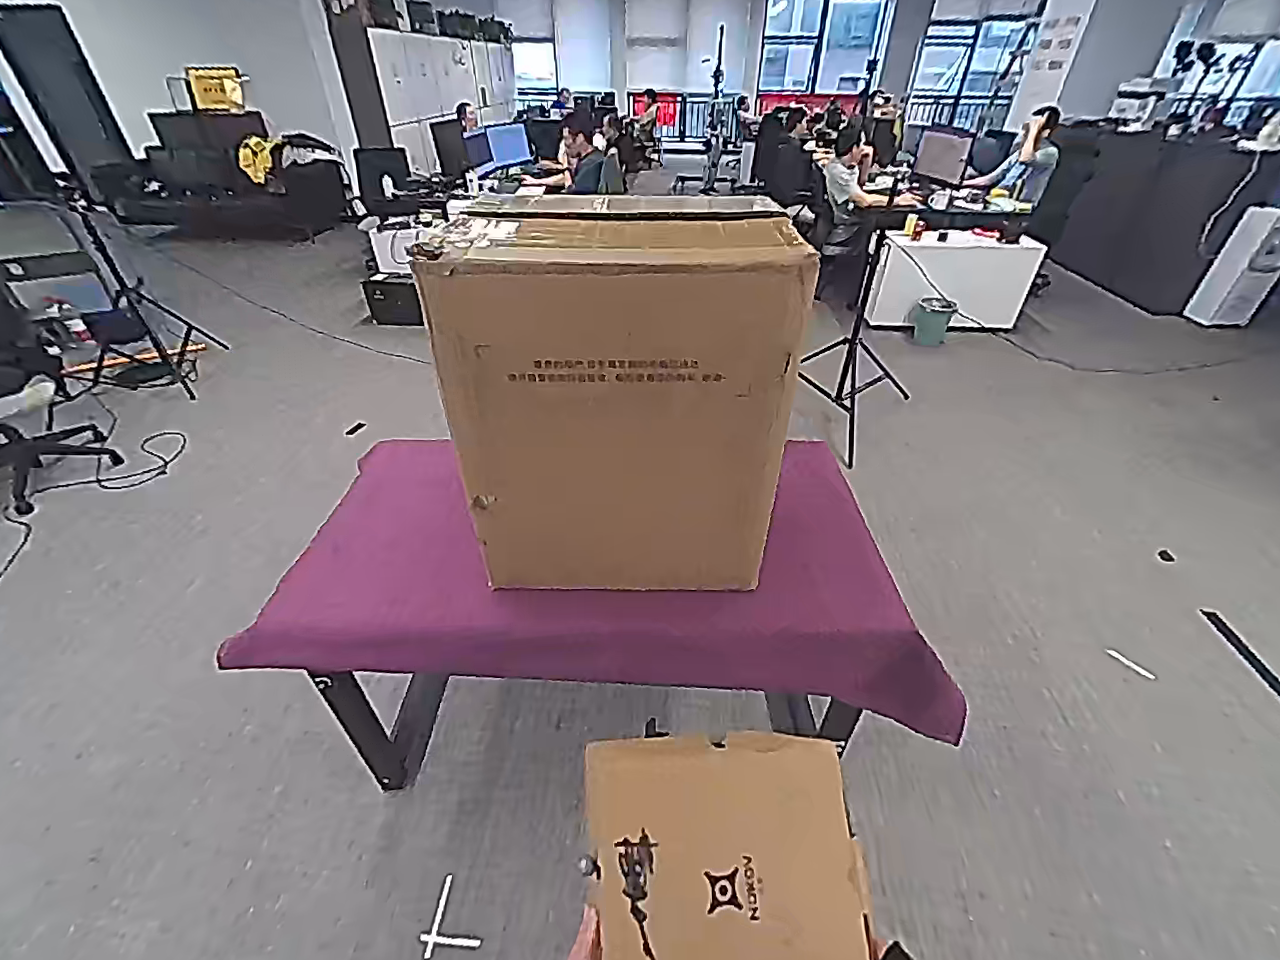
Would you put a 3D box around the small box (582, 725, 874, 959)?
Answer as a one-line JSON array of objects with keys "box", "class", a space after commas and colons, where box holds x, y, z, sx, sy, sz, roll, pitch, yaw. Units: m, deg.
[{"box": [0.050, 0.290, 0.427, 0.179, 0.176, 0.168, 0, 66, -10], "class": "small box"}]
